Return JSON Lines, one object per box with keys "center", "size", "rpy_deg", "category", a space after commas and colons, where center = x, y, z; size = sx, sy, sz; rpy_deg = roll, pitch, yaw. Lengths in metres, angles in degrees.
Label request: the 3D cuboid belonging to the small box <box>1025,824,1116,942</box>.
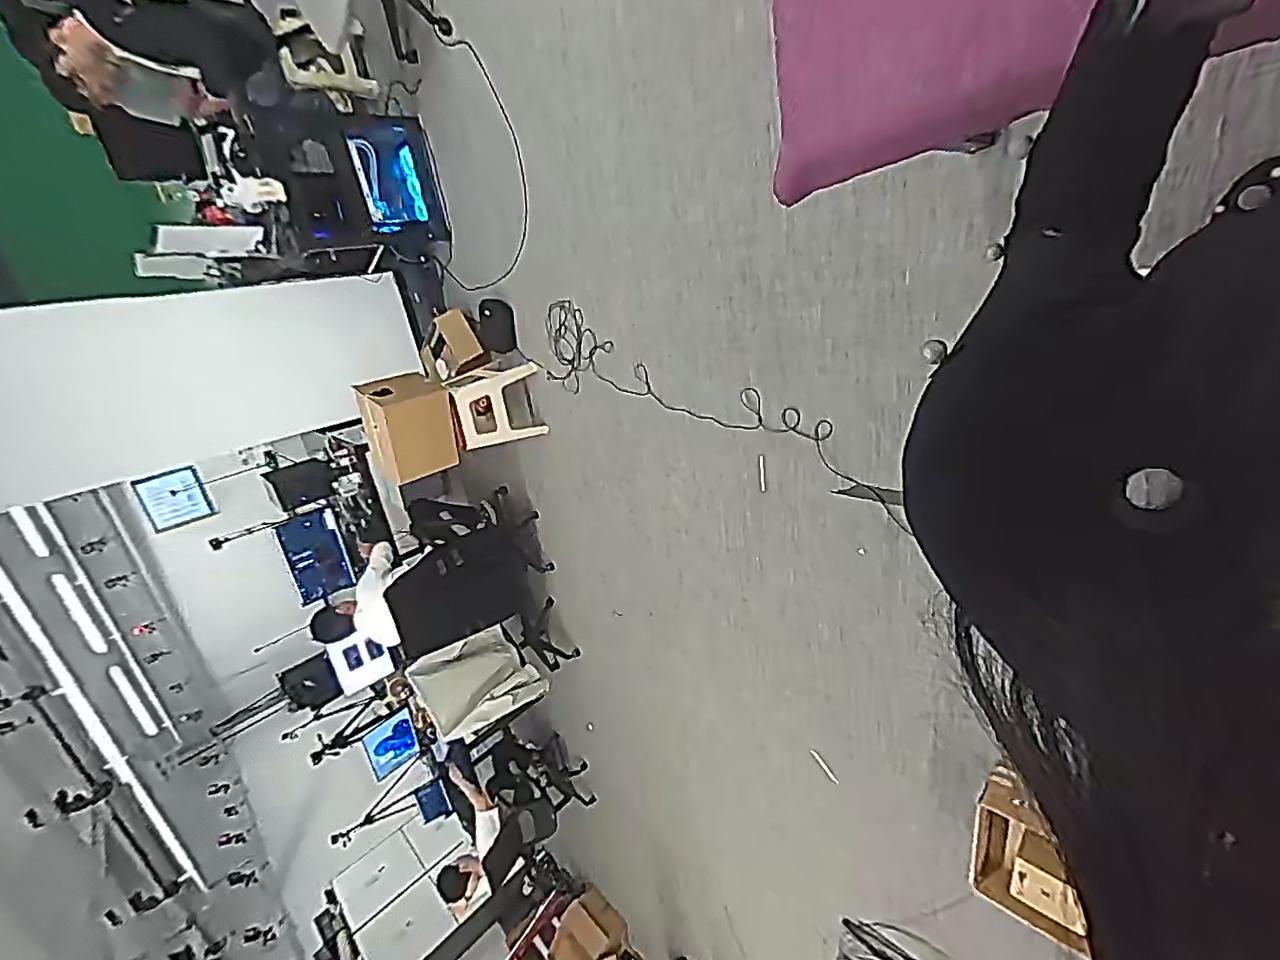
{"center": [1.225, 1.133, 1.537], "size": [0.179, 0.176, 0.168], "rpy_deg": [12, 118, 43], "category": "small box"}
